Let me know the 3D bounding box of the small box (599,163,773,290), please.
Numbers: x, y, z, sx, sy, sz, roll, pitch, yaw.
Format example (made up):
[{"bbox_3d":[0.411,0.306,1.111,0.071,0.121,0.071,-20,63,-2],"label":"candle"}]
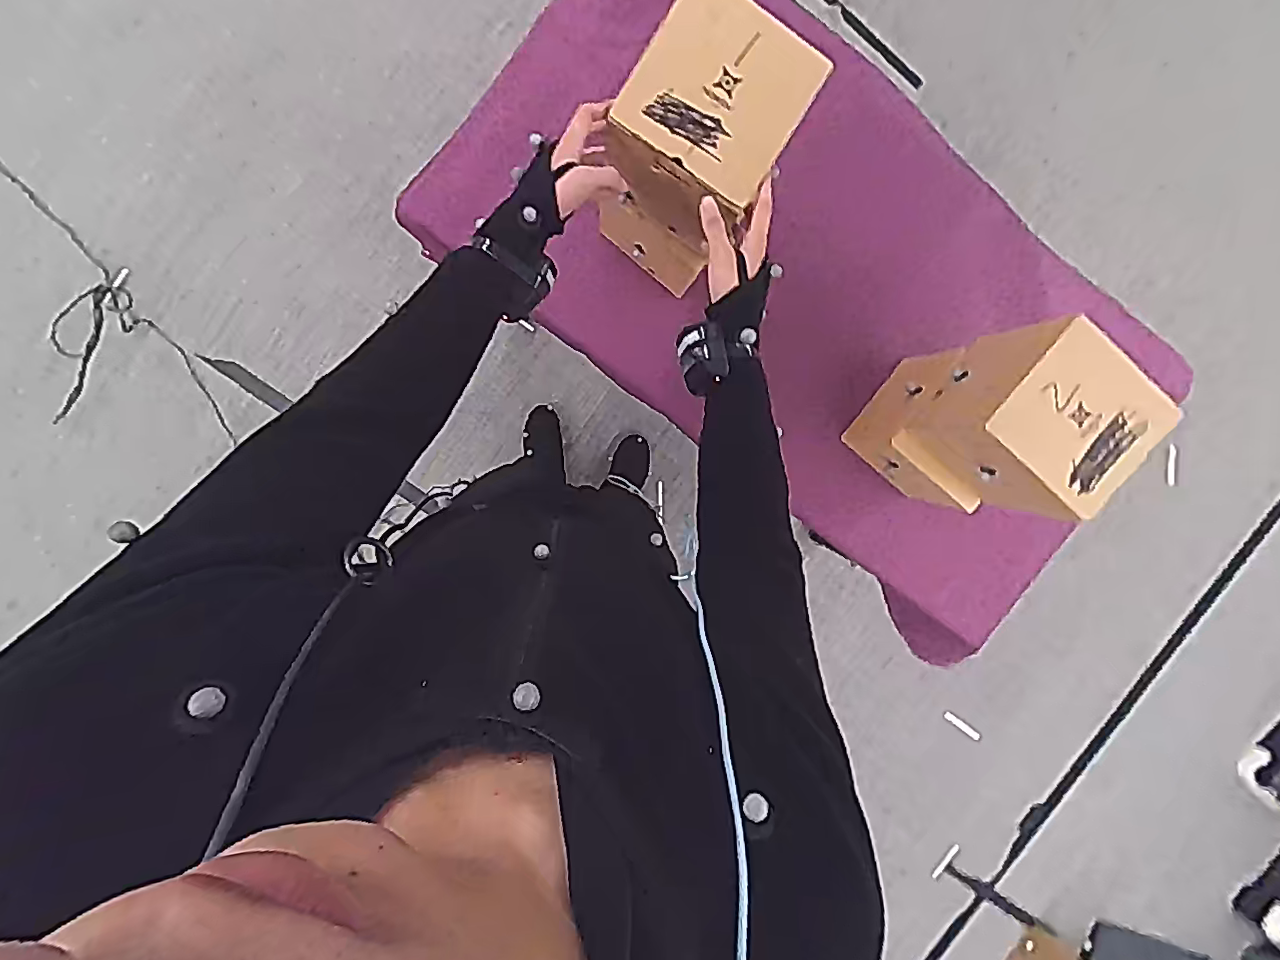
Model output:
[{"bbox_3d":[0.057,-0.406,0.784,0.168,0.176,0.179,39,92,-8],"label":"small box"}]

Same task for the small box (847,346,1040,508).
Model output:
[{"bbox_3d":[0.458,-0.081,0.853,0.168,0.176,0.179,39,92,-7],"label":"small box"}]

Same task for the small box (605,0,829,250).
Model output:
[{"bbox_3d":[0.074,-0.398,0.617,0.168,0.176,0.179,32,93,-8],"label":"small box"}]
